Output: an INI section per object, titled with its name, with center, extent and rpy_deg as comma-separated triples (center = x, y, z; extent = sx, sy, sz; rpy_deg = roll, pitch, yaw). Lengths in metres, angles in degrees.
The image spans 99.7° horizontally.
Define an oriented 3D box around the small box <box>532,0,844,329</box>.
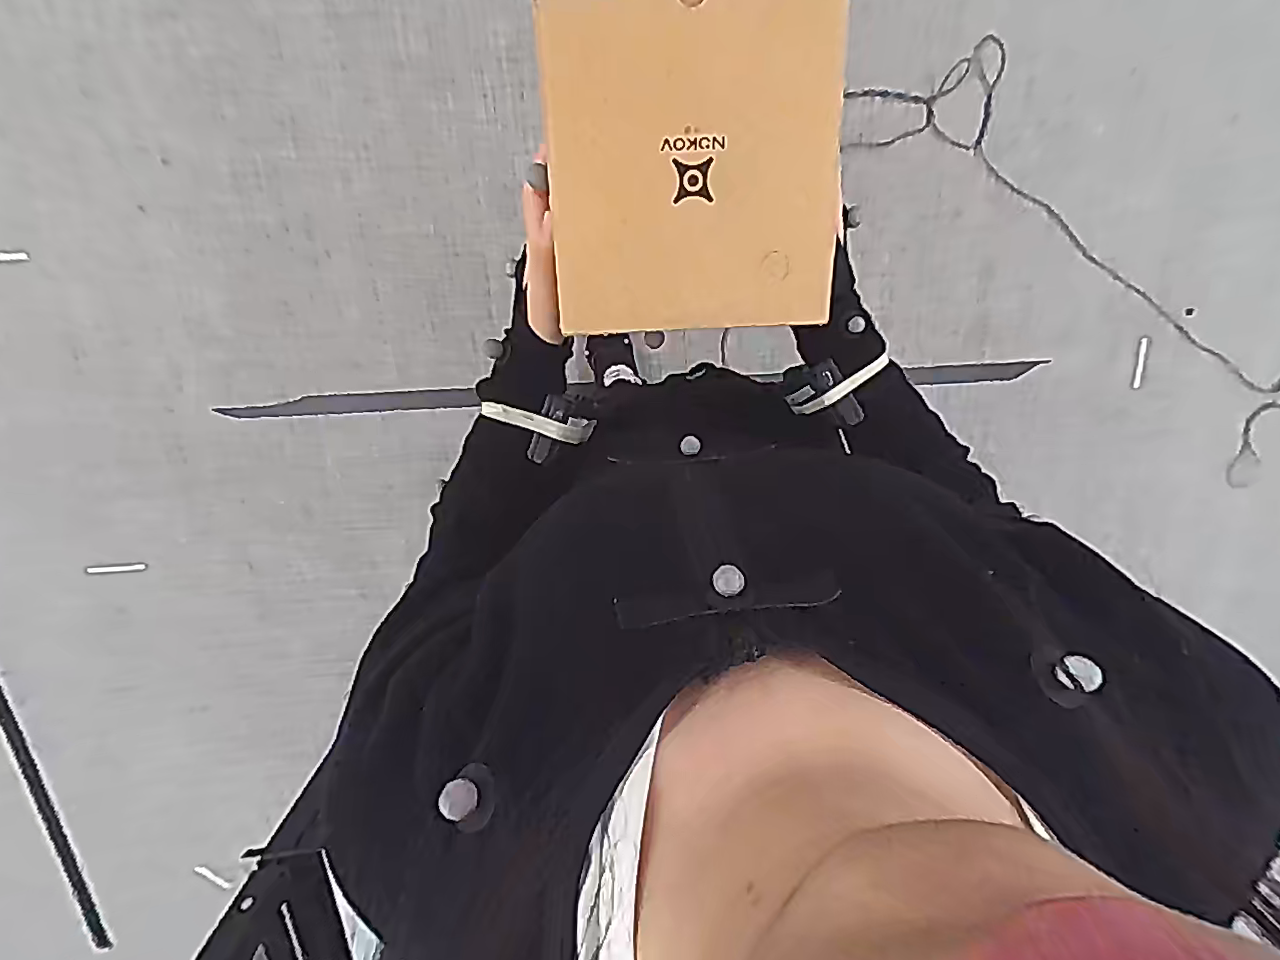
[small box]
center = 0.028, -0.204, 0.381
extent = 0.168, 0.176, 0.179
rpy_deg = -3, 108, 0
